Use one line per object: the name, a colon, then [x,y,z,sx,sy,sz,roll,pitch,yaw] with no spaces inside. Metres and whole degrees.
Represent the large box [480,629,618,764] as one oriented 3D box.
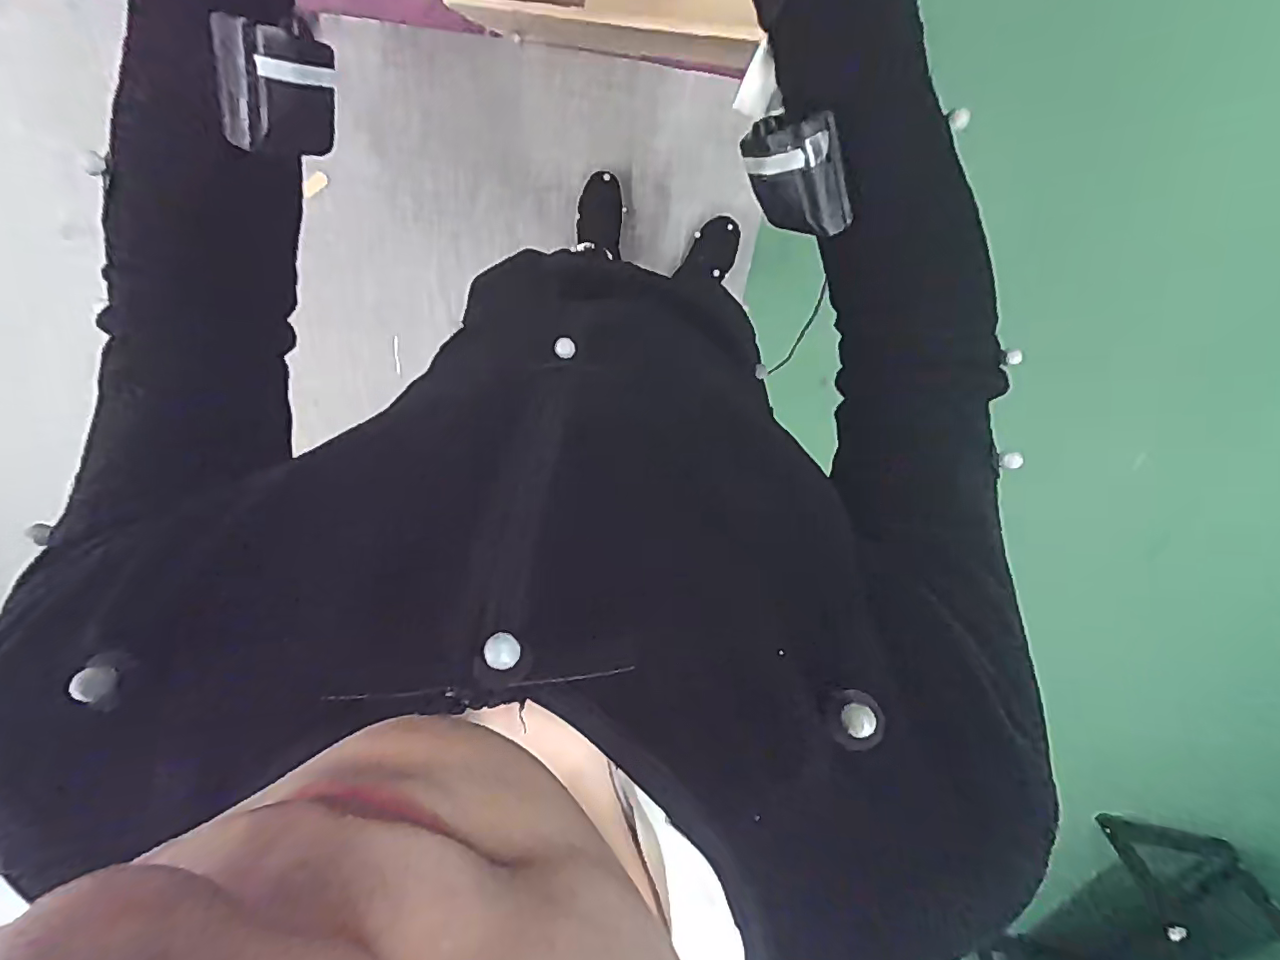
large box: [-0.339,0.840,2.112,0.408,0.320,0.320,-20,116,14]
